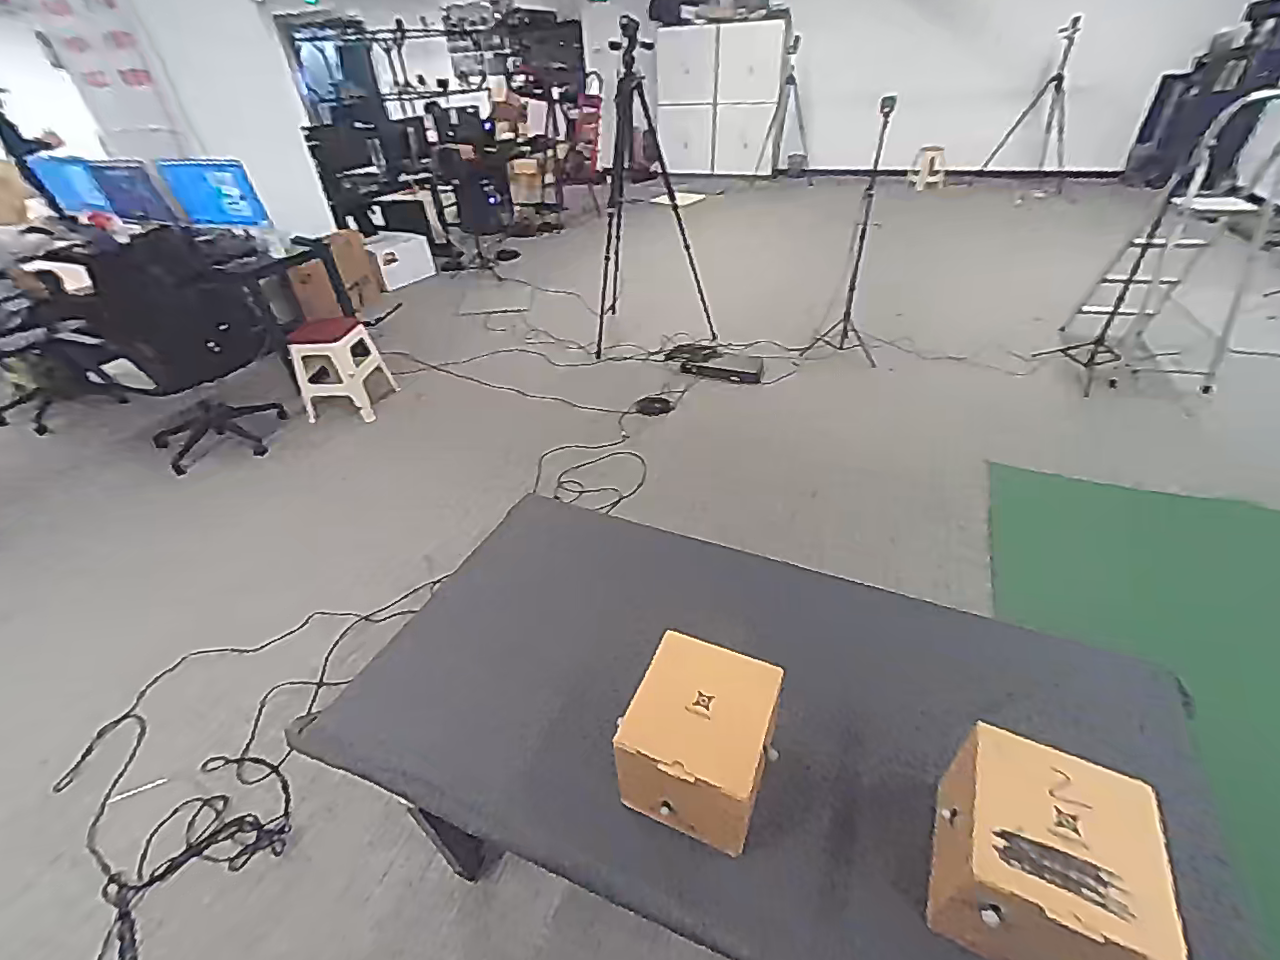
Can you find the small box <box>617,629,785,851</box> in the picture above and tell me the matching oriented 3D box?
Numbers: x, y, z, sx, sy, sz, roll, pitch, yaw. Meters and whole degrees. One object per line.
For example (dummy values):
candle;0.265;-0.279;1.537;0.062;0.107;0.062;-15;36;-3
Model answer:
small box;0.080;0.338;0.713;0.168;0.176;0.179;15;41;20
